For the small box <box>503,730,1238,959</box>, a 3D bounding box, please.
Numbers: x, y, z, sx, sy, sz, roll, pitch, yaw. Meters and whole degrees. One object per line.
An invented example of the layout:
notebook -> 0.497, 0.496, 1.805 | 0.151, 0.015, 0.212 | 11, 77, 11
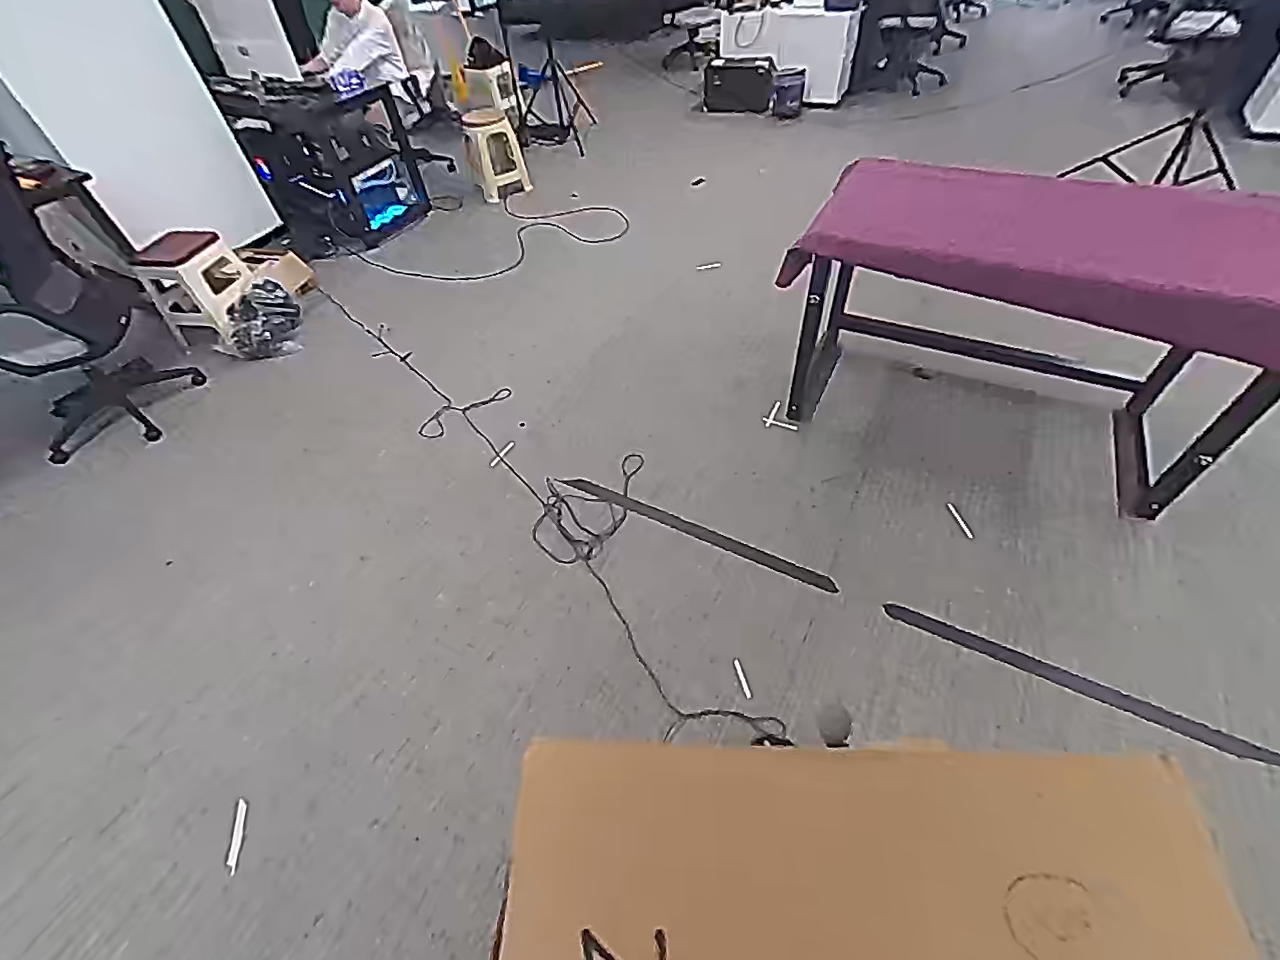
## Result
small box -> 0.062, 0.187, 0.188 | 0.179, 0.176, 0.168 | -2, 62, 14
